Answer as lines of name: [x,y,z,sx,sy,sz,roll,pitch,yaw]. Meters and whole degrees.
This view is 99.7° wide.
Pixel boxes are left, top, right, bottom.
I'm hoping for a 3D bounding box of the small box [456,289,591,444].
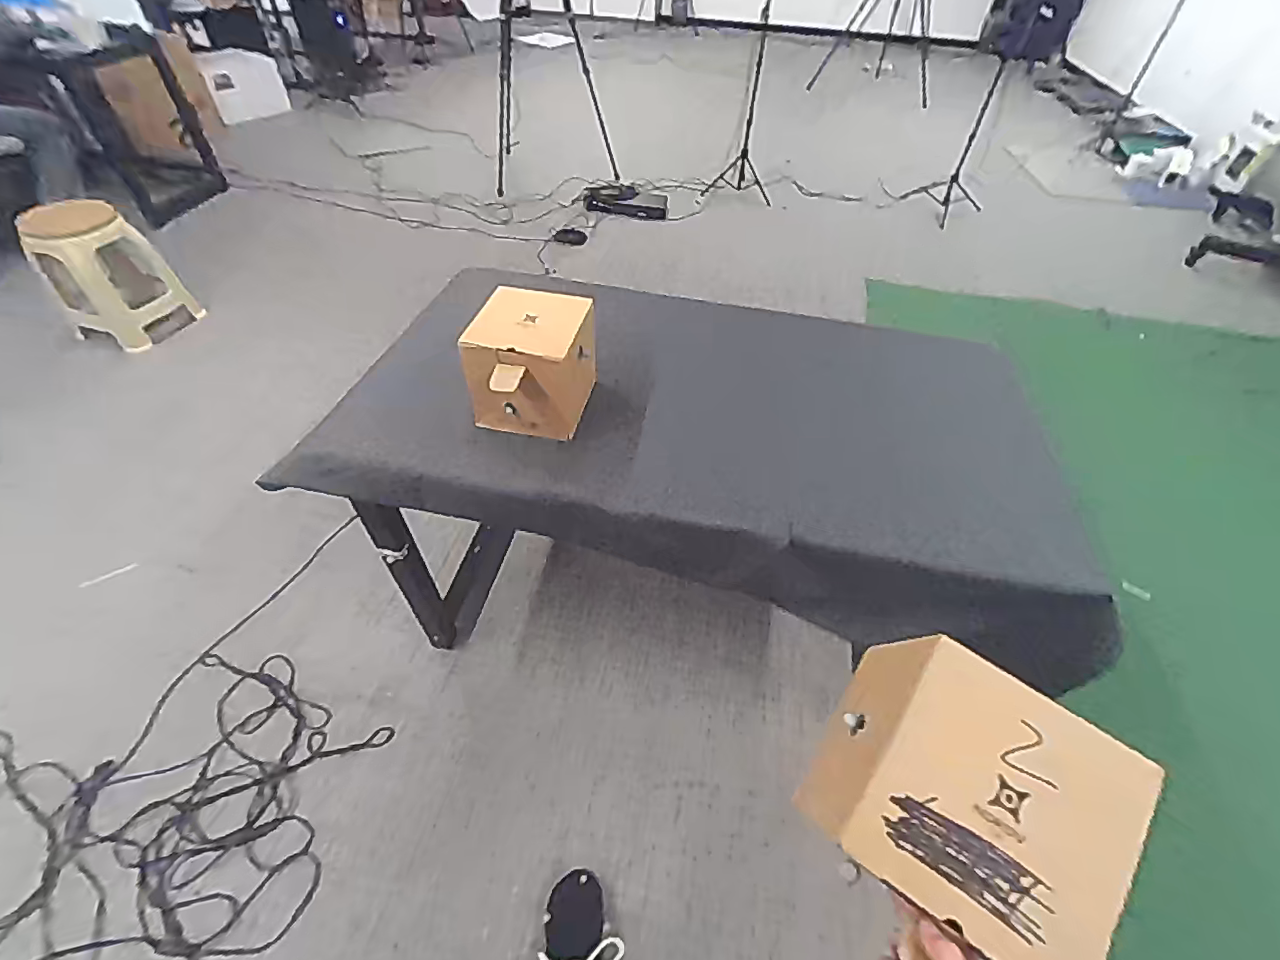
small box: [-0.181,-0.188,0.896,0.168,0.176,0.179,10,48,5]
